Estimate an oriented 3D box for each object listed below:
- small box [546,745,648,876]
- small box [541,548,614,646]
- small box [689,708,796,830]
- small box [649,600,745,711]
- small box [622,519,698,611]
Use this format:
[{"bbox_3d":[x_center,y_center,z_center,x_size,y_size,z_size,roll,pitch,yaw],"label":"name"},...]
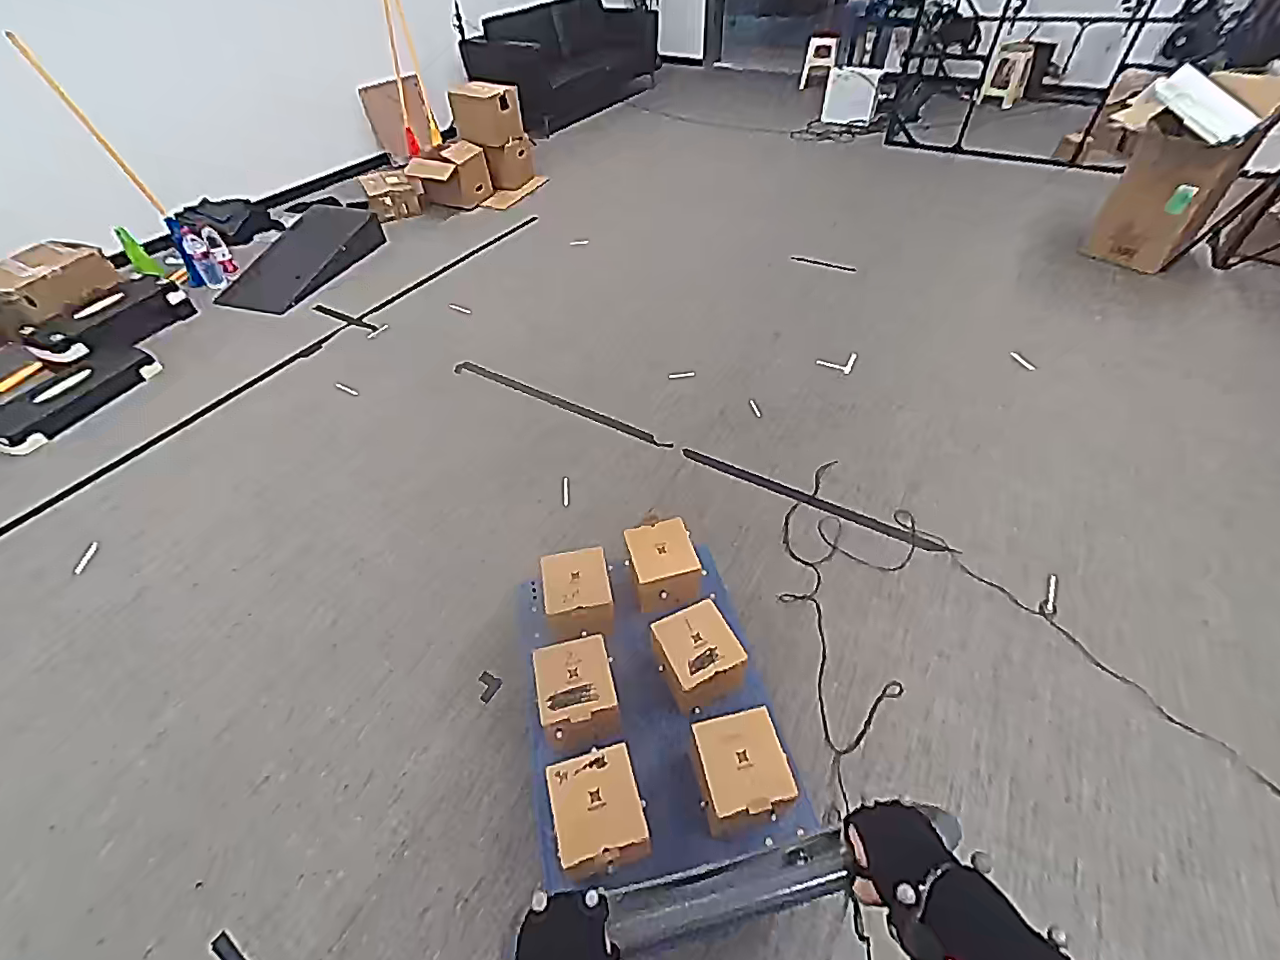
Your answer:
[{"bbox_3d":[-0.083,0.668,1.085,0.168,0.176,0.179,-13,48,-11],"label":"small box"},{"bbox_3d":[-0.164,0.308,1.422,0.168,0.176,0.179,-10,48,-7],"label":"small box"},{"bbox_3d":[0.205,0.609,1.132,0.168,0.176,0.179,-10,47,-8],"label":"small box"},{"bbox_3d":[0.133,0.429,1.301,0.168,0.176,0.179,-20,48,-16],"label":"small box"},{"bbox_3d":[0.054,0.240,1.481,0.168,0.176,0.179,-13,48,-10],"label":"small box"}]
